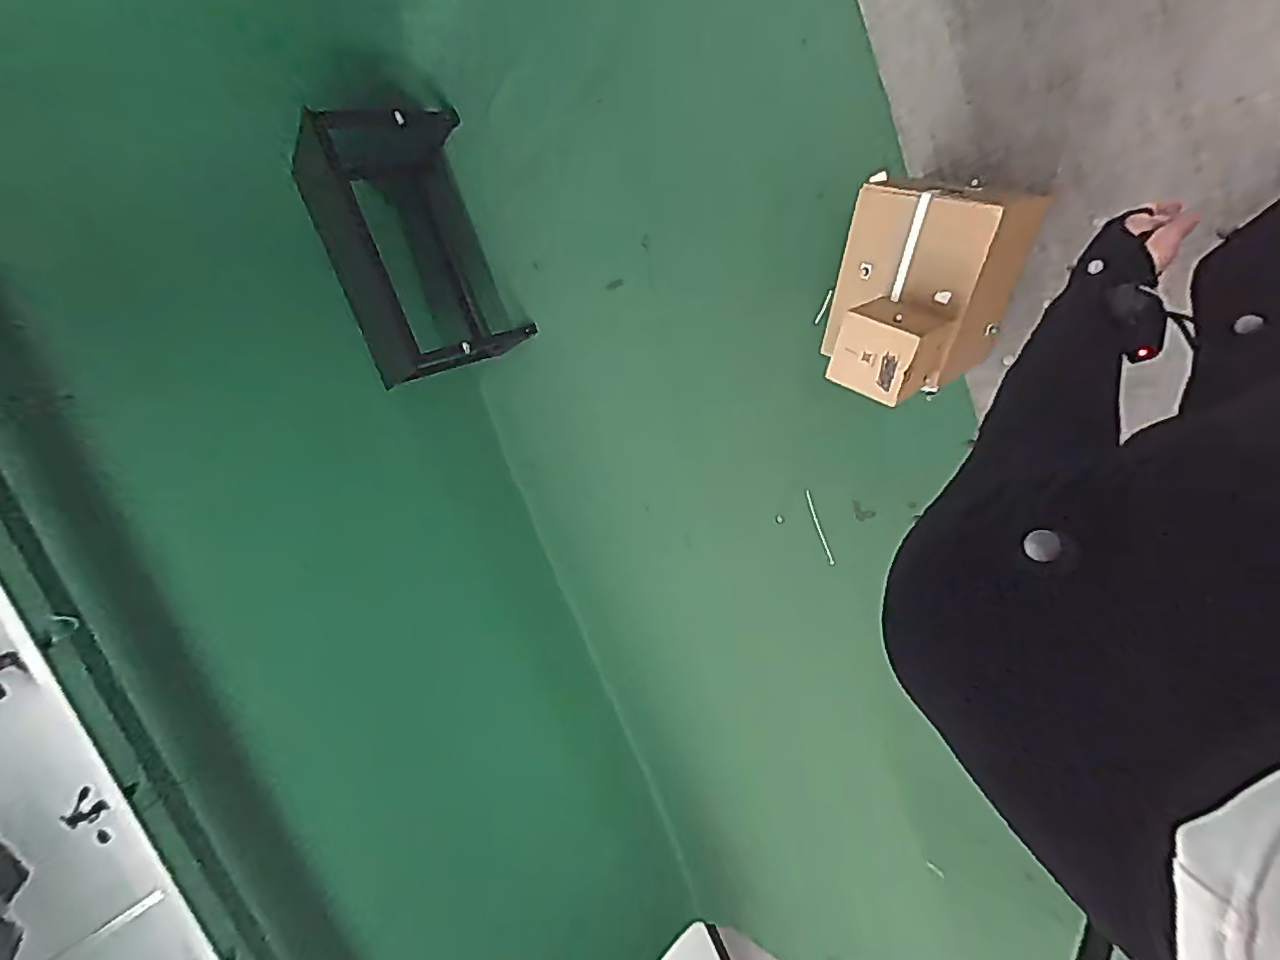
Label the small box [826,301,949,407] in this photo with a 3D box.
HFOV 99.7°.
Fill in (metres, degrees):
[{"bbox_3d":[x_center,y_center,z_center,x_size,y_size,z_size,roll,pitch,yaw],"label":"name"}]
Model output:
[{"bbox_3d":[0.562,-0.294,1.226,0.179,0.176,0.168,36,136,33],"label":"small box"}]
